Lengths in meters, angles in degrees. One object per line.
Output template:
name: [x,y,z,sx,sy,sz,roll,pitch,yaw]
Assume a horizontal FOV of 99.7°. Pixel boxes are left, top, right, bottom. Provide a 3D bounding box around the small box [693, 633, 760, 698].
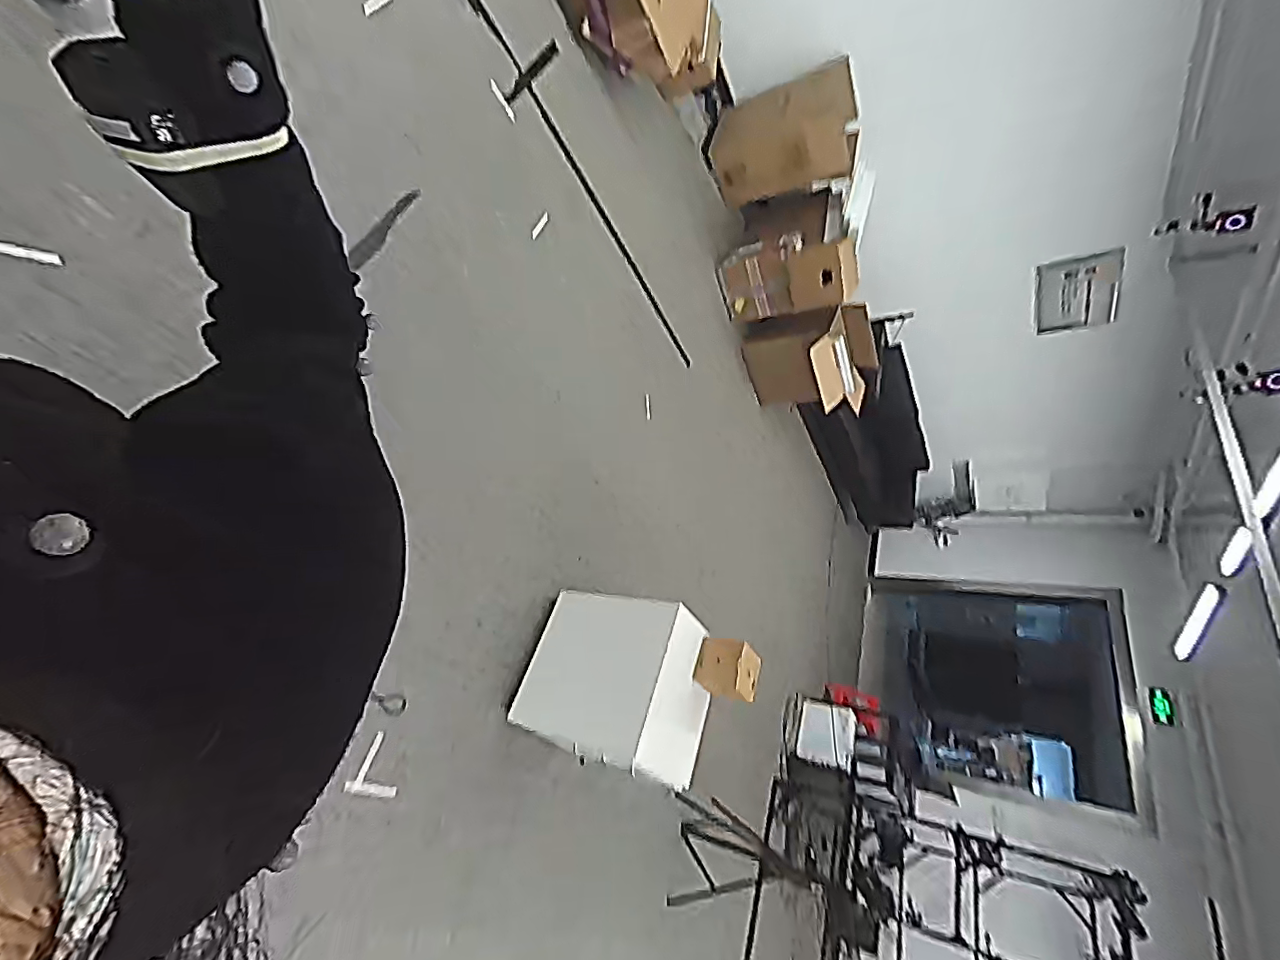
small box: [0.313,0.672,1.969,0.179,0.176,0.168,51,50,-40]
